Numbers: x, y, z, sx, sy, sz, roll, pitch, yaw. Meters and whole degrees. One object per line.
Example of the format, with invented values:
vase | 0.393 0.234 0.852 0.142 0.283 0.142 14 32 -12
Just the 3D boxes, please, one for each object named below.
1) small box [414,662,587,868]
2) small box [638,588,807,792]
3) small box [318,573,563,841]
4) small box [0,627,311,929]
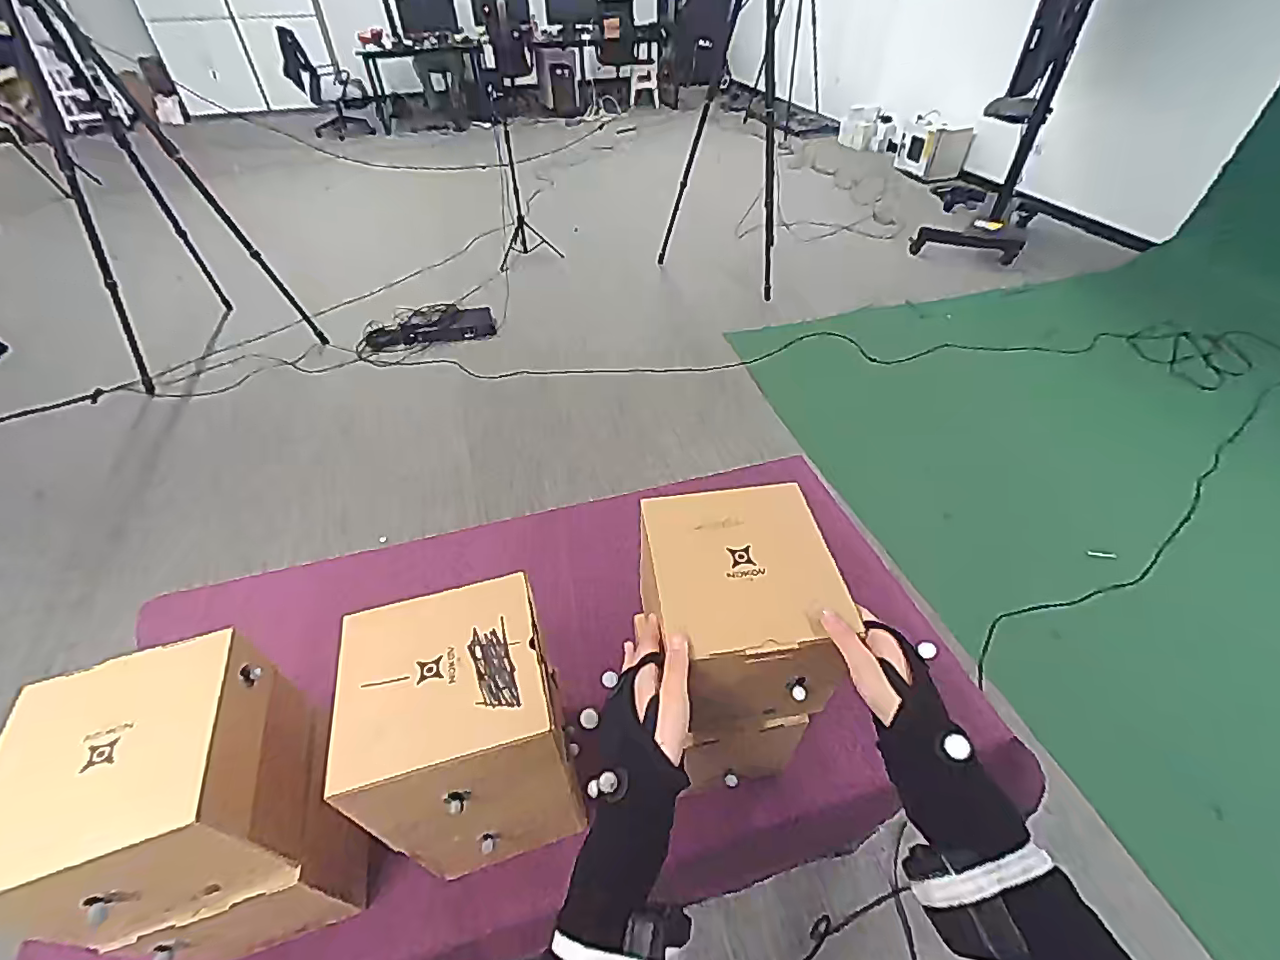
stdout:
small box | -0.172 0.335 0.651 0.179 0.176 0.168 -14 46 -11
small box | 0.093 0.271 0.702 0.168 0.176 0.179 -10 45 -6
small box | -0.176 0.221 0.531 0.179 0.176 0.168 -13 44 -9
small box | -0.428 0.272 0.494 0.168 0.176 0.179 -16 45 -13
